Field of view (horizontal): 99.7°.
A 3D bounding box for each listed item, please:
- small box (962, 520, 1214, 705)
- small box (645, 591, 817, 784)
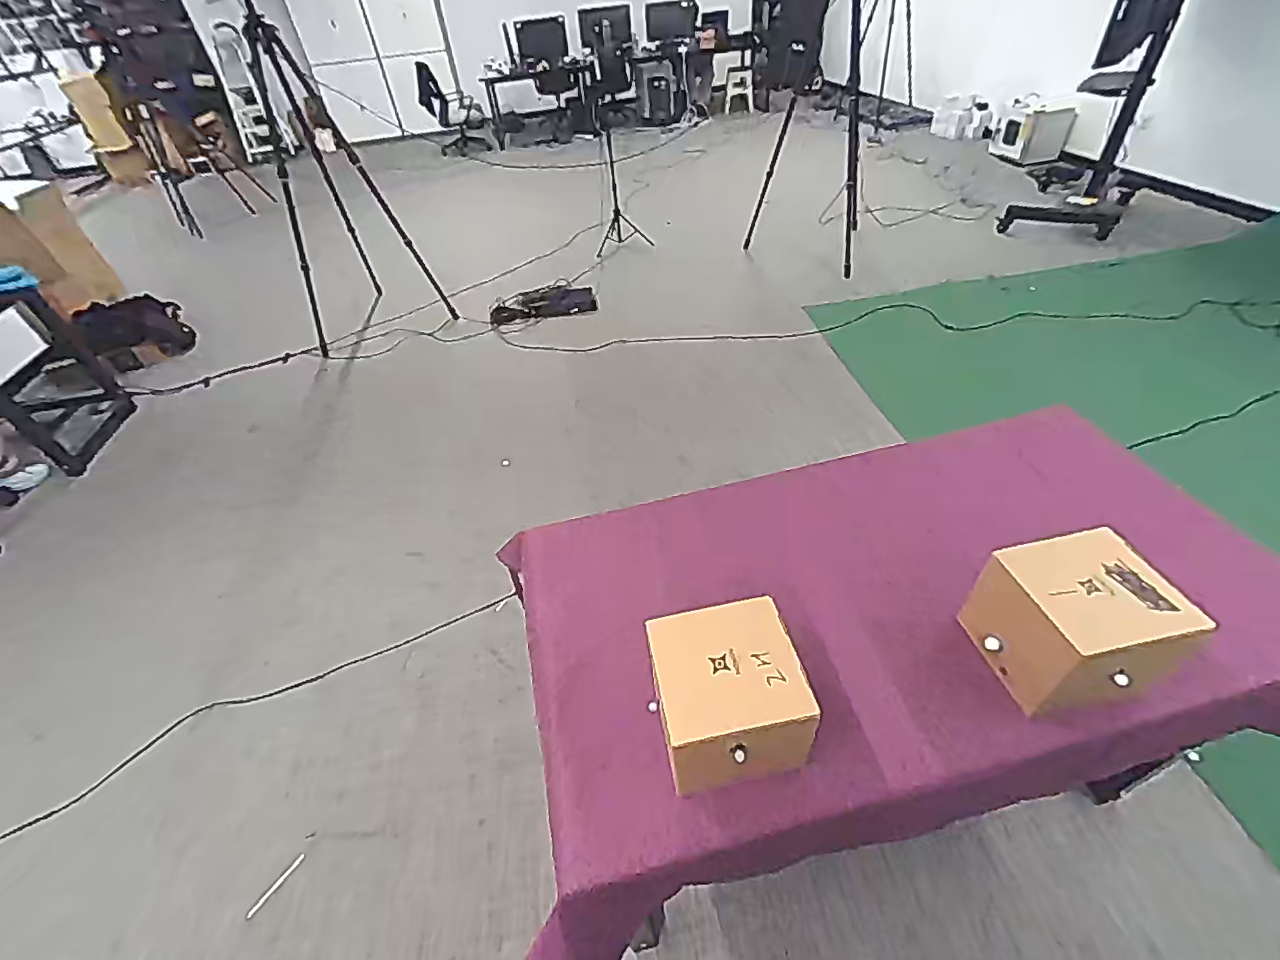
[{"bbox_3d":[0.589,0.183,0.743,0.179,0.176,0.168,-12,43,-3],"label":"small box"},{"bbox_3d":[0.112,0.276,0.713,0.179,0.176,0.168,-10,44,-3],"label":"small box"}]
